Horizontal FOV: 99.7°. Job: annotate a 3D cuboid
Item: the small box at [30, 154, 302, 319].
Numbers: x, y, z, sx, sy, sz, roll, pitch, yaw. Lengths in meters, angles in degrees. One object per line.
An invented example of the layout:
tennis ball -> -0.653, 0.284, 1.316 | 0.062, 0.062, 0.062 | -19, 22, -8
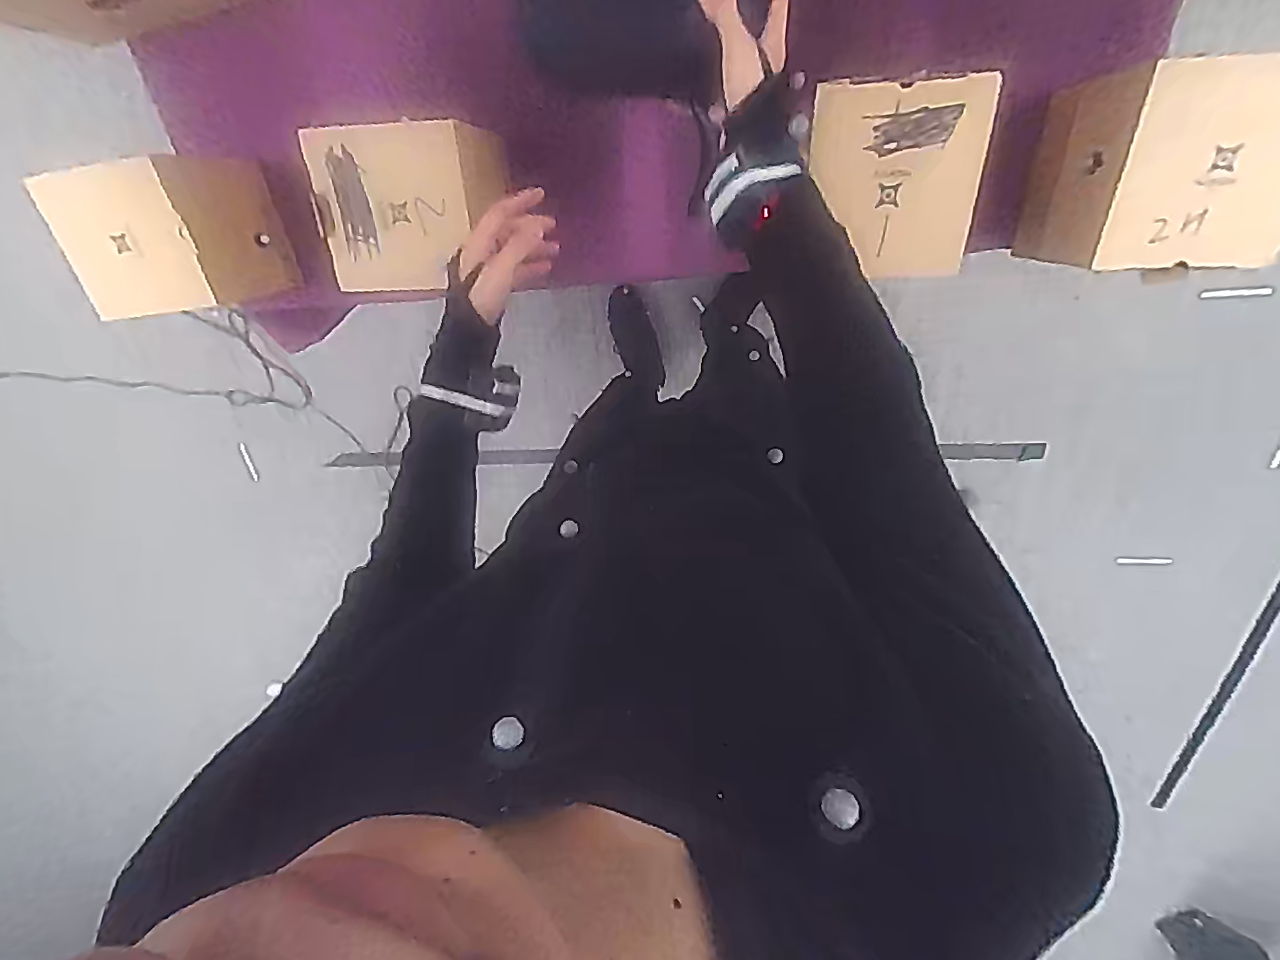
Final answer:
small box -> -0.602, -0.319, 0.716 | 0.179, 0.176, 0.168 | -5, 117, 8

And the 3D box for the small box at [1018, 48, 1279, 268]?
small box -> 0.537, -0.322, 0.564 | 0.168, 0.176, 0.179 | 2, 117, 7
